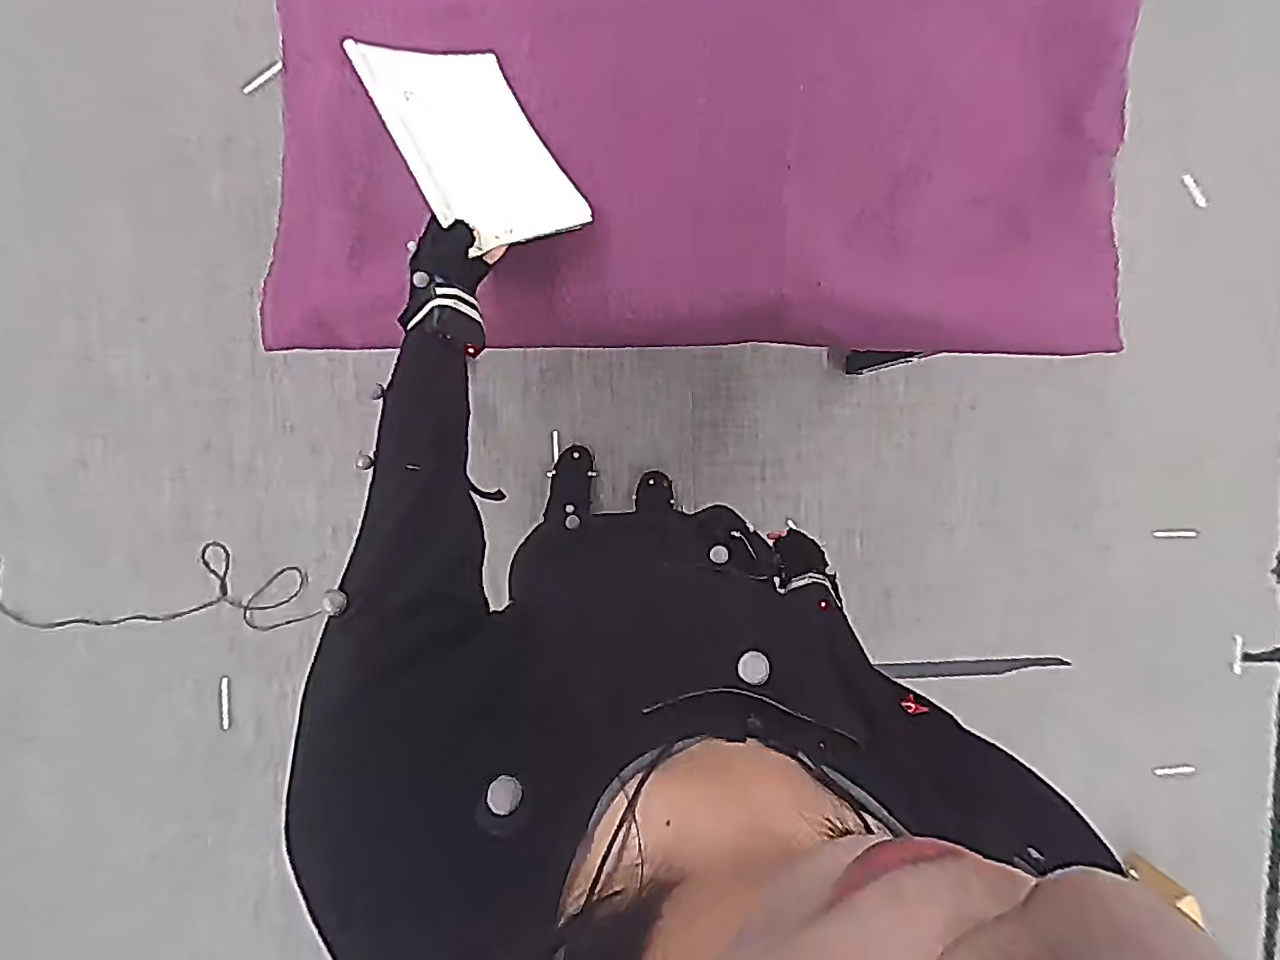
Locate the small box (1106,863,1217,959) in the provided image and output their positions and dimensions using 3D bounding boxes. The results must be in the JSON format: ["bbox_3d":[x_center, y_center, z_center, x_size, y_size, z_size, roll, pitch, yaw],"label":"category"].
[{"bbox_3d":[1.638,1.373,1.707,0.168,0.176,0.179,-23,94,-6],"label":"small box"}]
